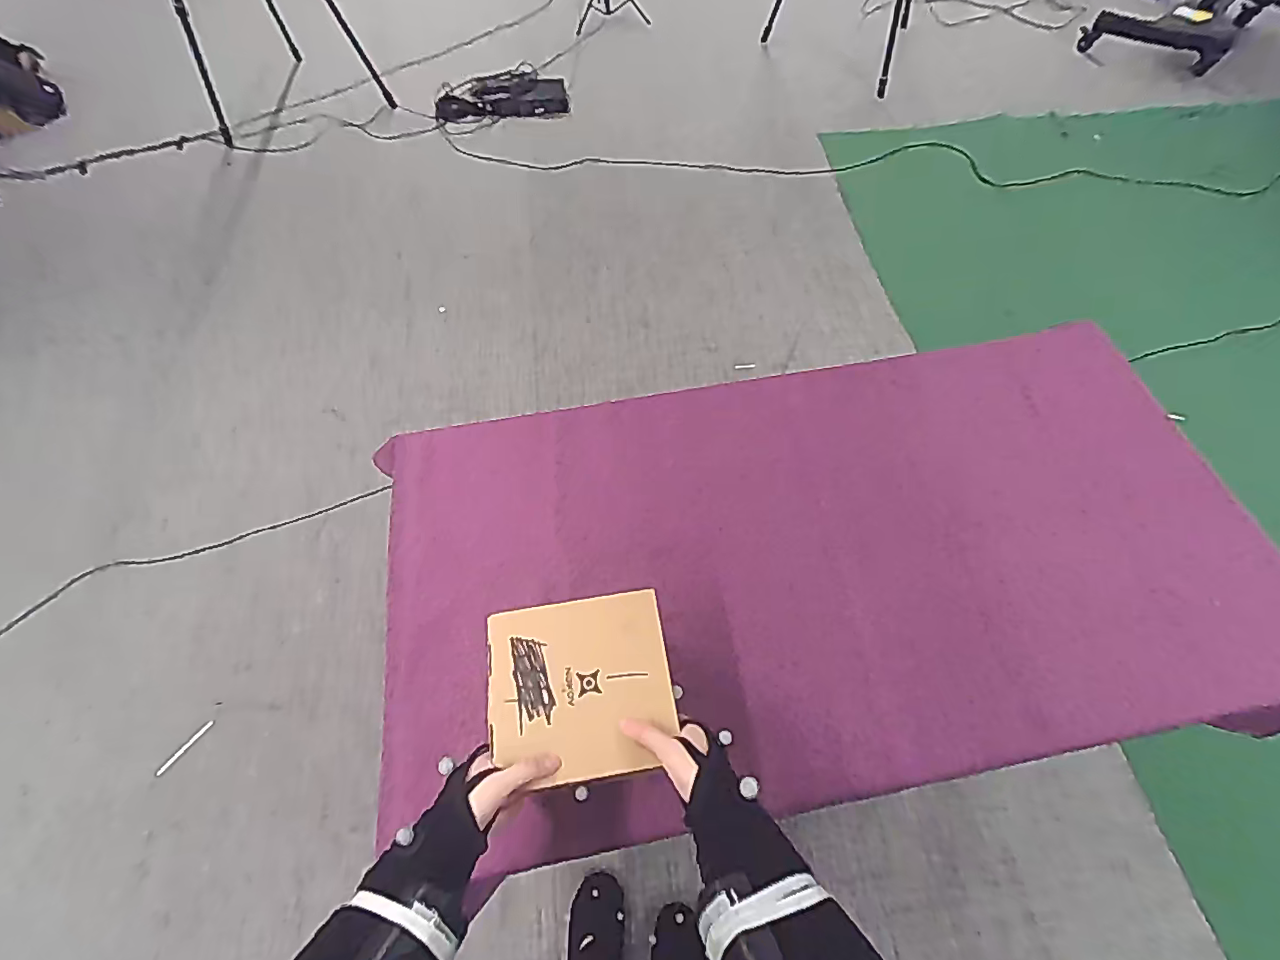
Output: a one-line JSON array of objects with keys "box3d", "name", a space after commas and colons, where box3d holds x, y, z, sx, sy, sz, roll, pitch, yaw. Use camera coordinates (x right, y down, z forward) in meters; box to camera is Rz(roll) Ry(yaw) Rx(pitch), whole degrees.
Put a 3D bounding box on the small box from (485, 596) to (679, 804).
[{"box3d": [-0.059, 0.244, 0.587, 0.179, 0.176, 0.168, -9, 59, -4], "name": "small box"}]
